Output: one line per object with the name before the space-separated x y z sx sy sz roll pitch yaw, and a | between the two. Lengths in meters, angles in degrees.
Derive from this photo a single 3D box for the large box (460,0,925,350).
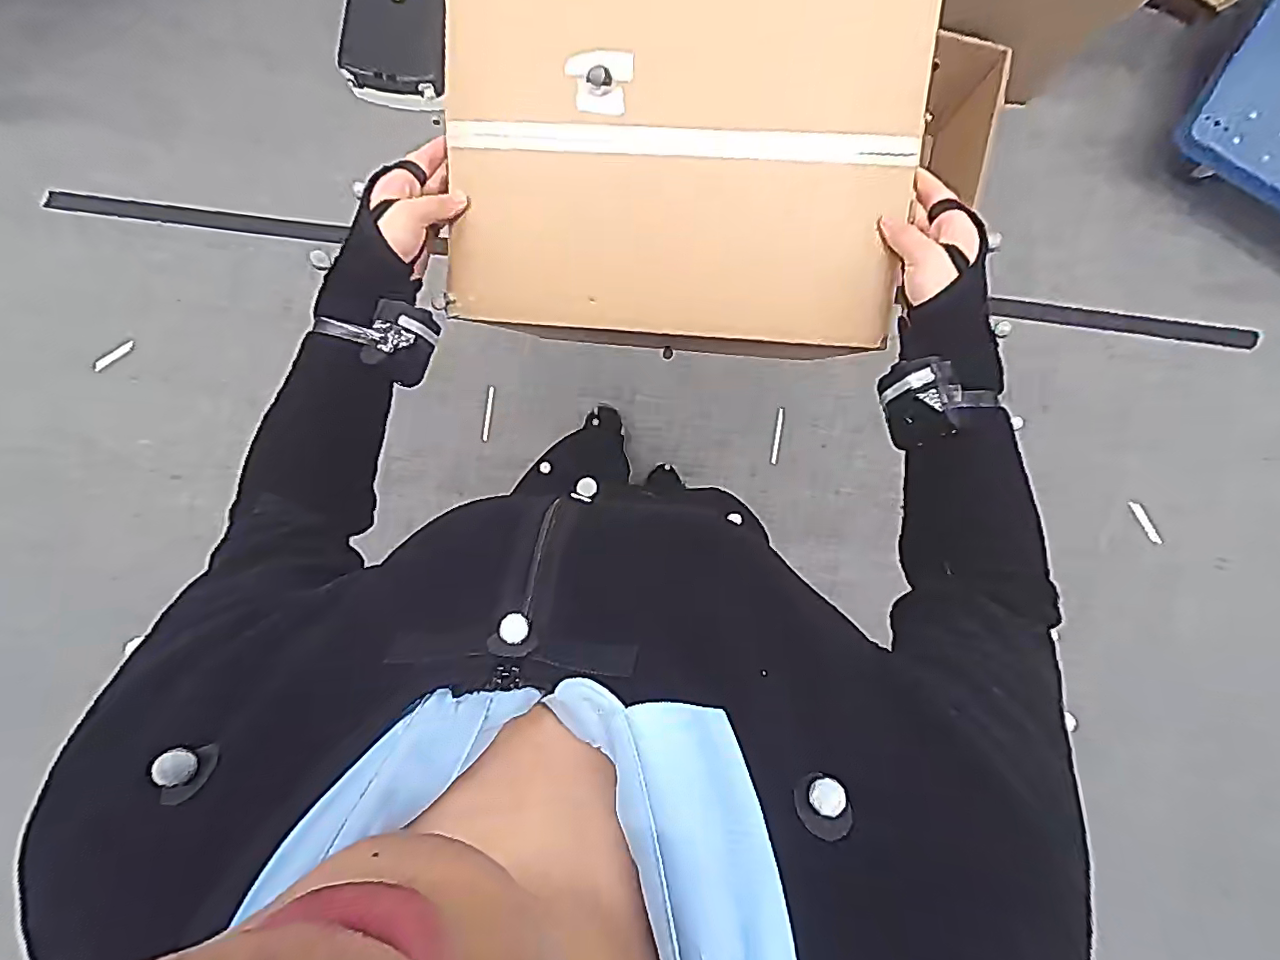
large box | 0.049 -0.321 0.627 0.408 0.320 0.320 5 100 5
